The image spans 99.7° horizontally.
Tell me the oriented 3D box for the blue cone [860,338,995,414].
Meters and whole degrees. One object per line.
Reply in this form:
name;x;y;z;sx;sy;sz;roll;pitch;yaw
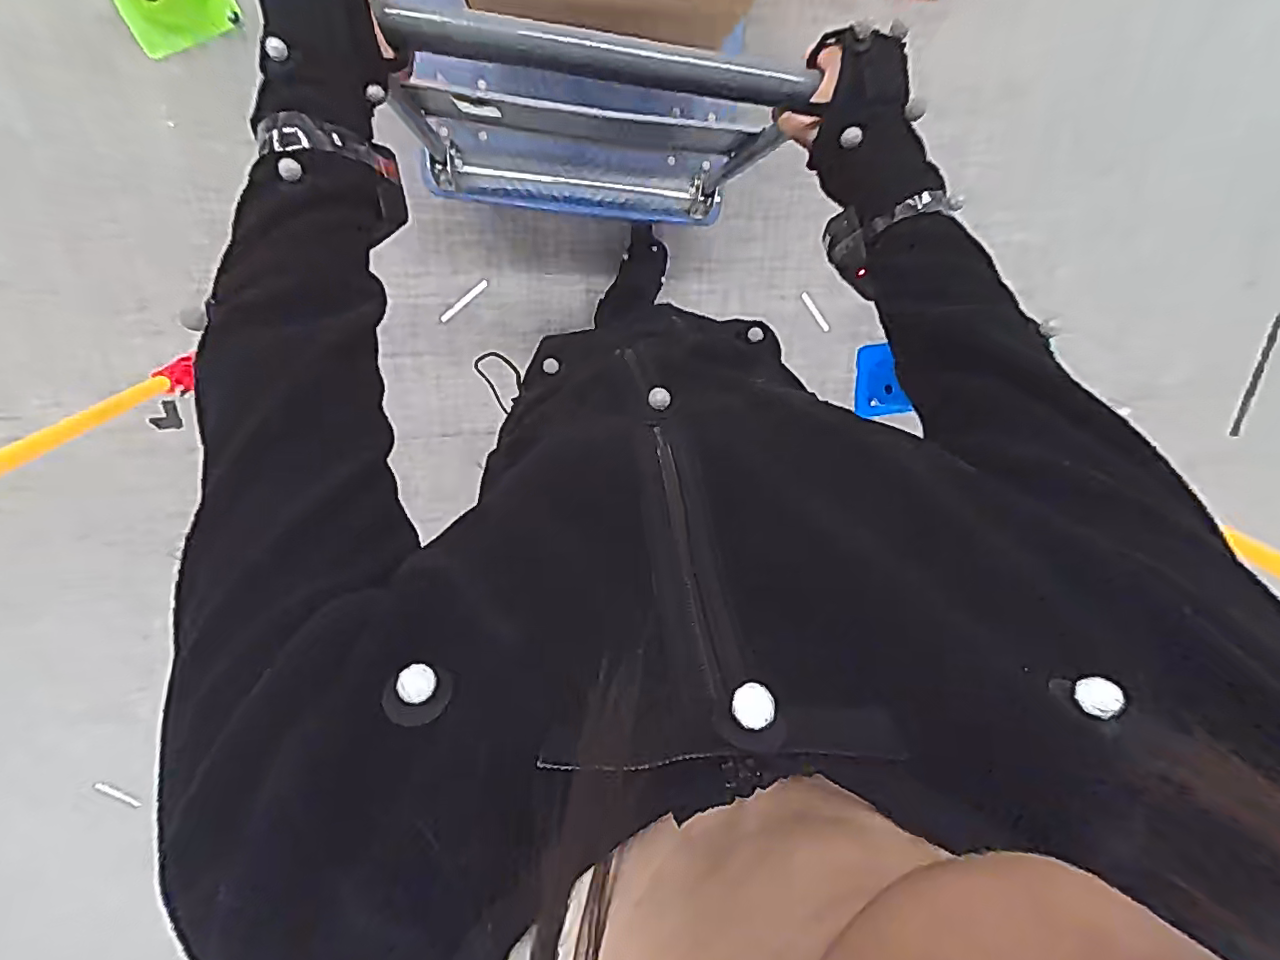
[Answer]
blue cone;0.701;-0.217;1.297;0.193;0.380;0.192;-7;112;-5
